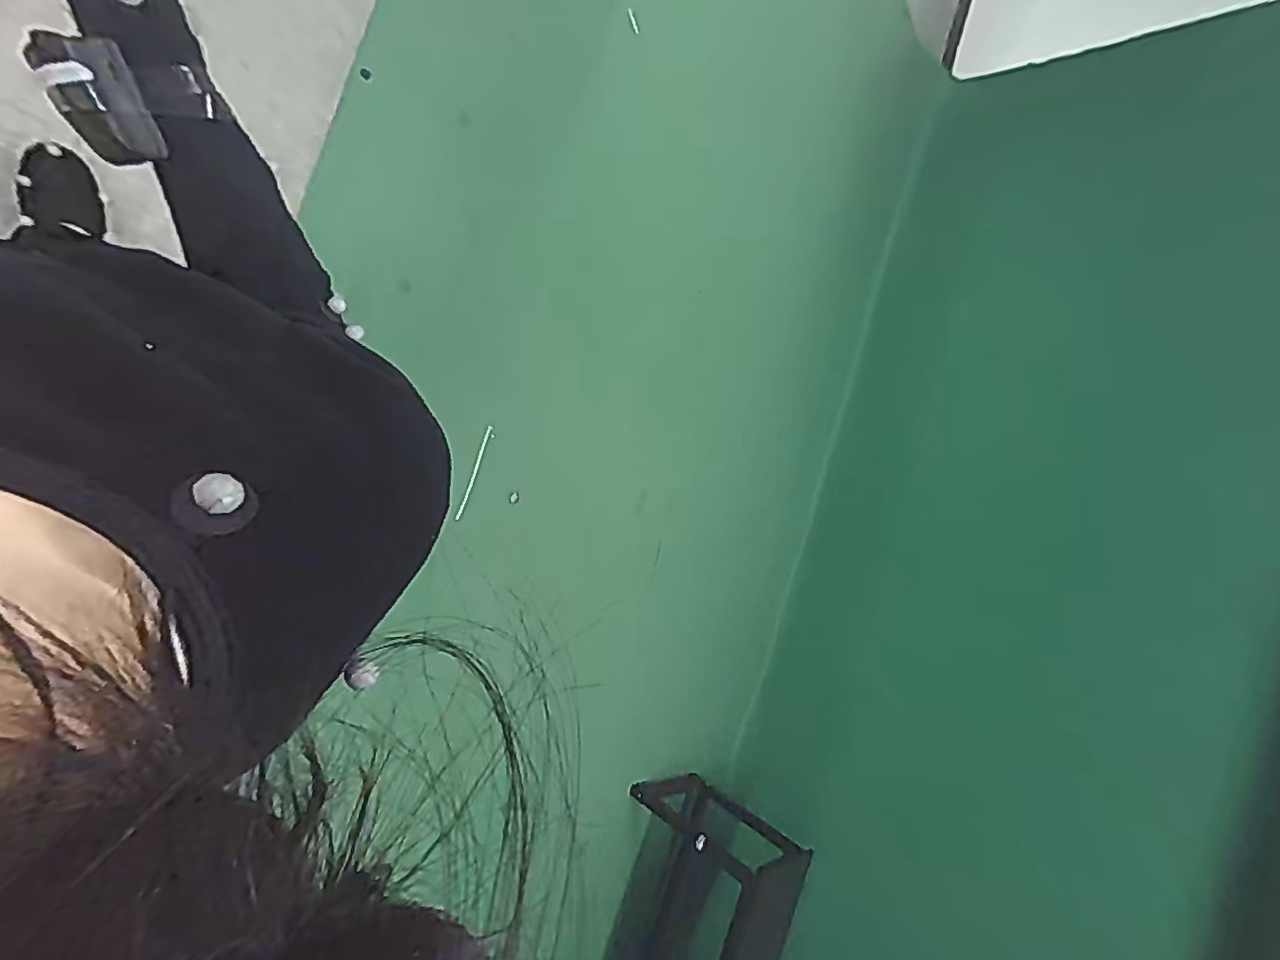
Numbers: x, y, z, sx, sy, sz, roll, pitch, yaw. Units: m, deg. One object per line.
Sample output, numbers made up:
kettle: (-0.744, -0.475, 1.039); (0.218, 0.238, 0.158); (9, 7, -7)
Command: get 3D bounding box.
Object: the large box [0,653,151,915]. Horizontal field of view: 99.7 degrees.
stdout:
large box: (-1.176, 0.556, 0.976); (0.408, 0.320, 0.320); (0, 102, -48)
